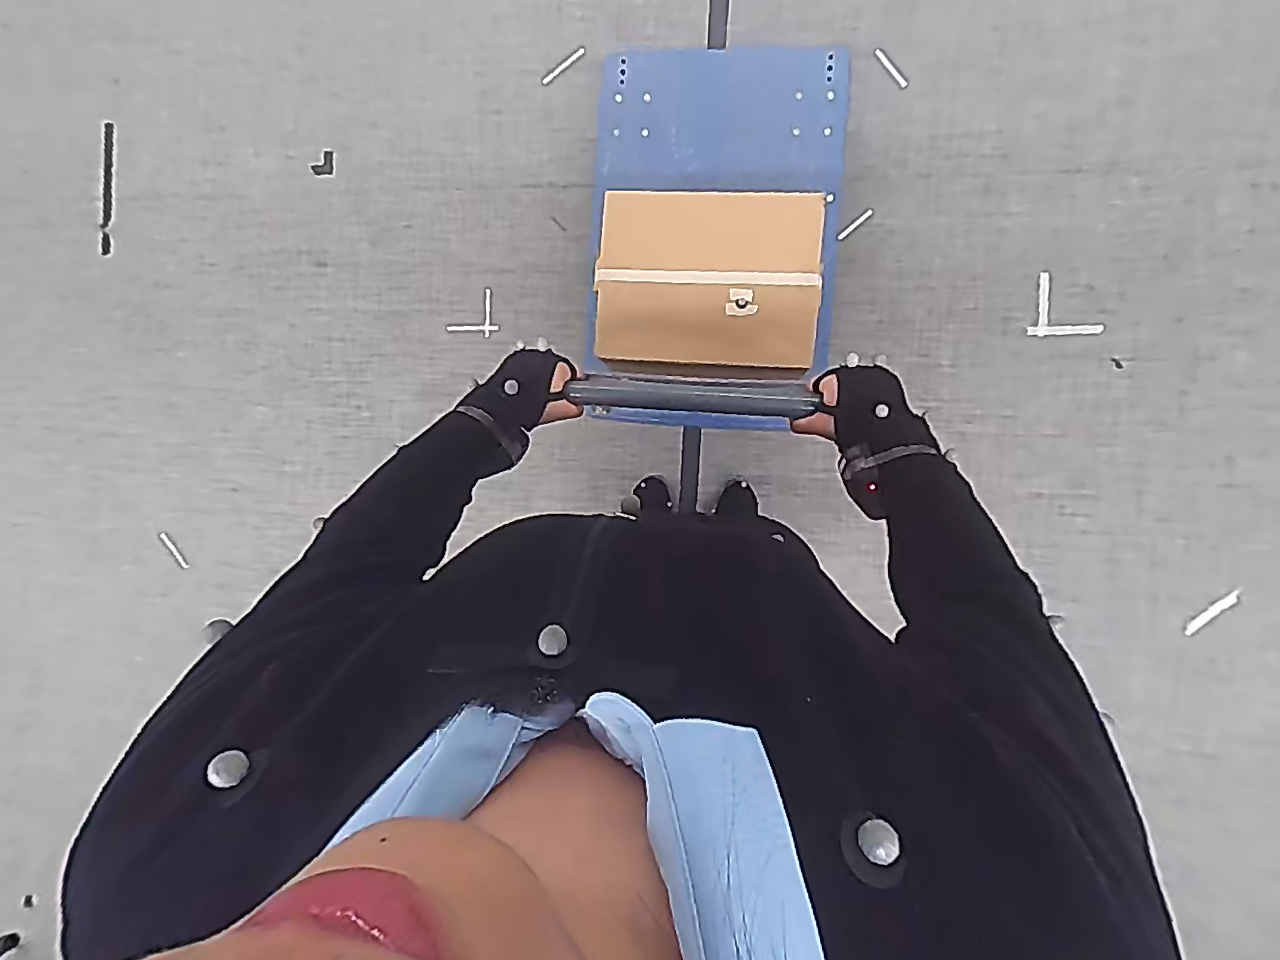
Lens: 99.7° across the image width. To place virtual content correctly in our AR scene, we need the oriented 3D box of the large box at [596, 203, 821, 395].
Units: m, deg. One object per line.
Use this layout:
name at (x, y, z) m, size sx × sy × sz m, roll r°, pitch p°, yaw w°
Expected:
large box at (0.134, -0.357, 1.139) m, size 0.408 × 0.320 × 0.320 m, roll 4°, pitch 93°, yaw 6°
